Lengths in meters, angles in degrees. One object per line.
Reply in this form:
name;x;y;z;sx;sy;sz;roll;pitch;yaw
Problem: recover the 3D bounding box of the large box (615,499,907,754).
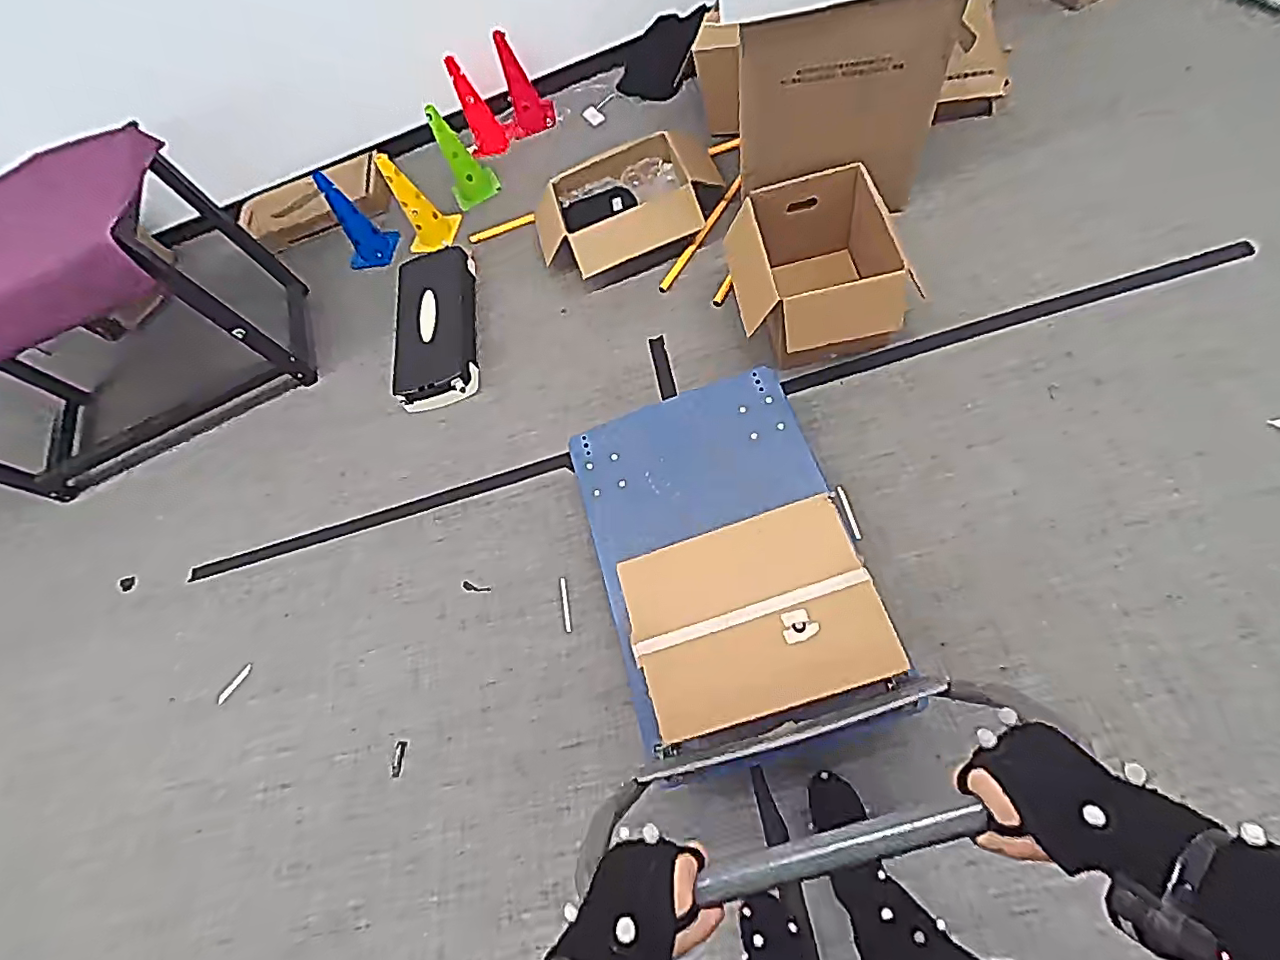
large box;0.210;0.287;1.030;0.408;0.320;0.320;-20;66;4
